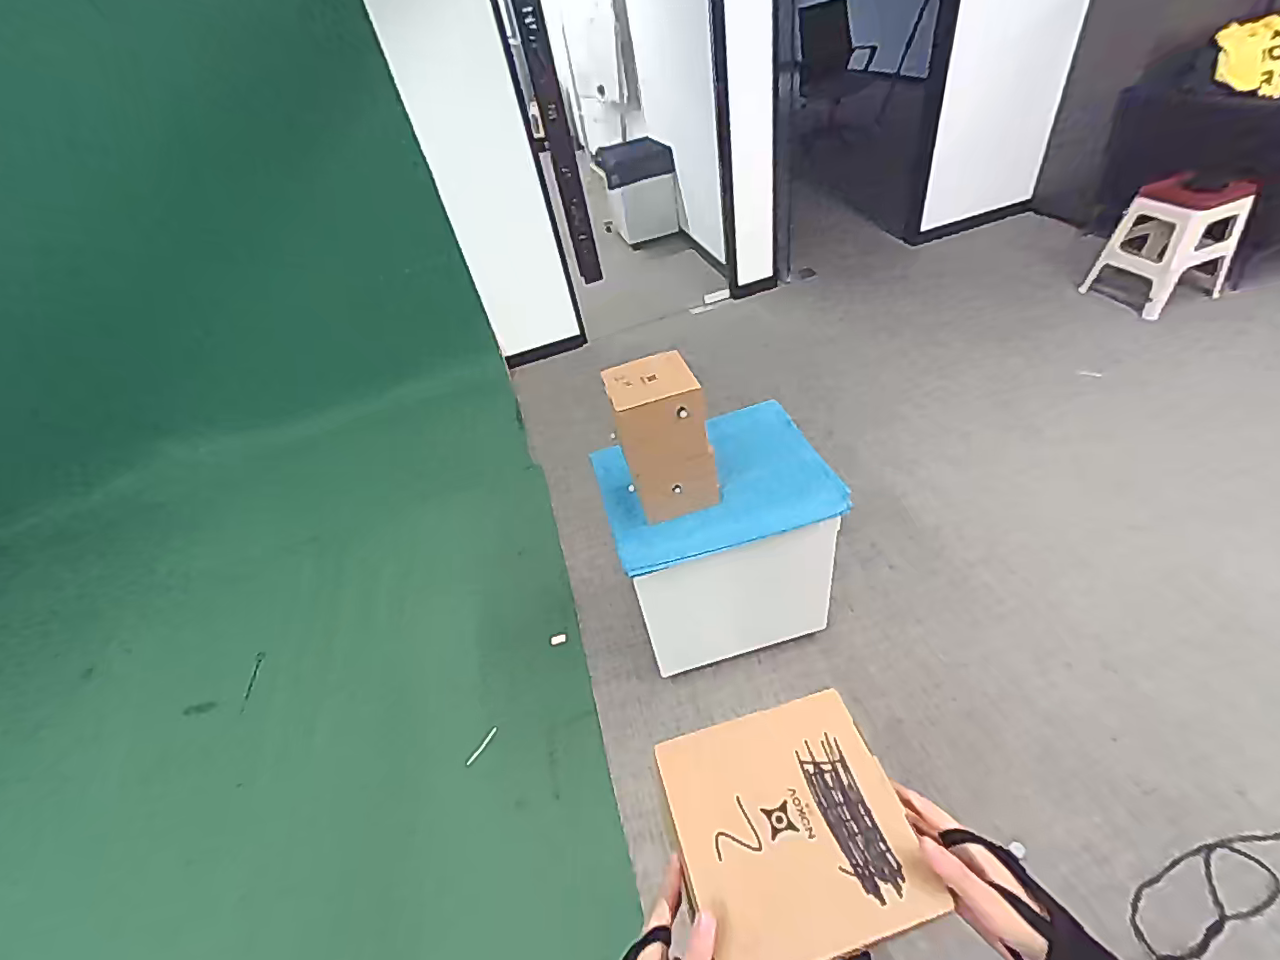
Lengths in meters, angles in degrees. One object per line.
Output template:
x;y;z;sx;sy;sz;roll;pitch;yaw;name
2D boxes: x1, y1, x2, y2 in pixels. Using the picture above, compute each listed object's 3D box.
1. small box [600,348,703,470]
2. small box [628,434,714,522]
0.028;-0.148;1.135;0.179;0.176;0.168;-17;42;-4;small box
0.064;-0.032;1.247;0.179;0.176;0.168;-17;42;-4;small box
